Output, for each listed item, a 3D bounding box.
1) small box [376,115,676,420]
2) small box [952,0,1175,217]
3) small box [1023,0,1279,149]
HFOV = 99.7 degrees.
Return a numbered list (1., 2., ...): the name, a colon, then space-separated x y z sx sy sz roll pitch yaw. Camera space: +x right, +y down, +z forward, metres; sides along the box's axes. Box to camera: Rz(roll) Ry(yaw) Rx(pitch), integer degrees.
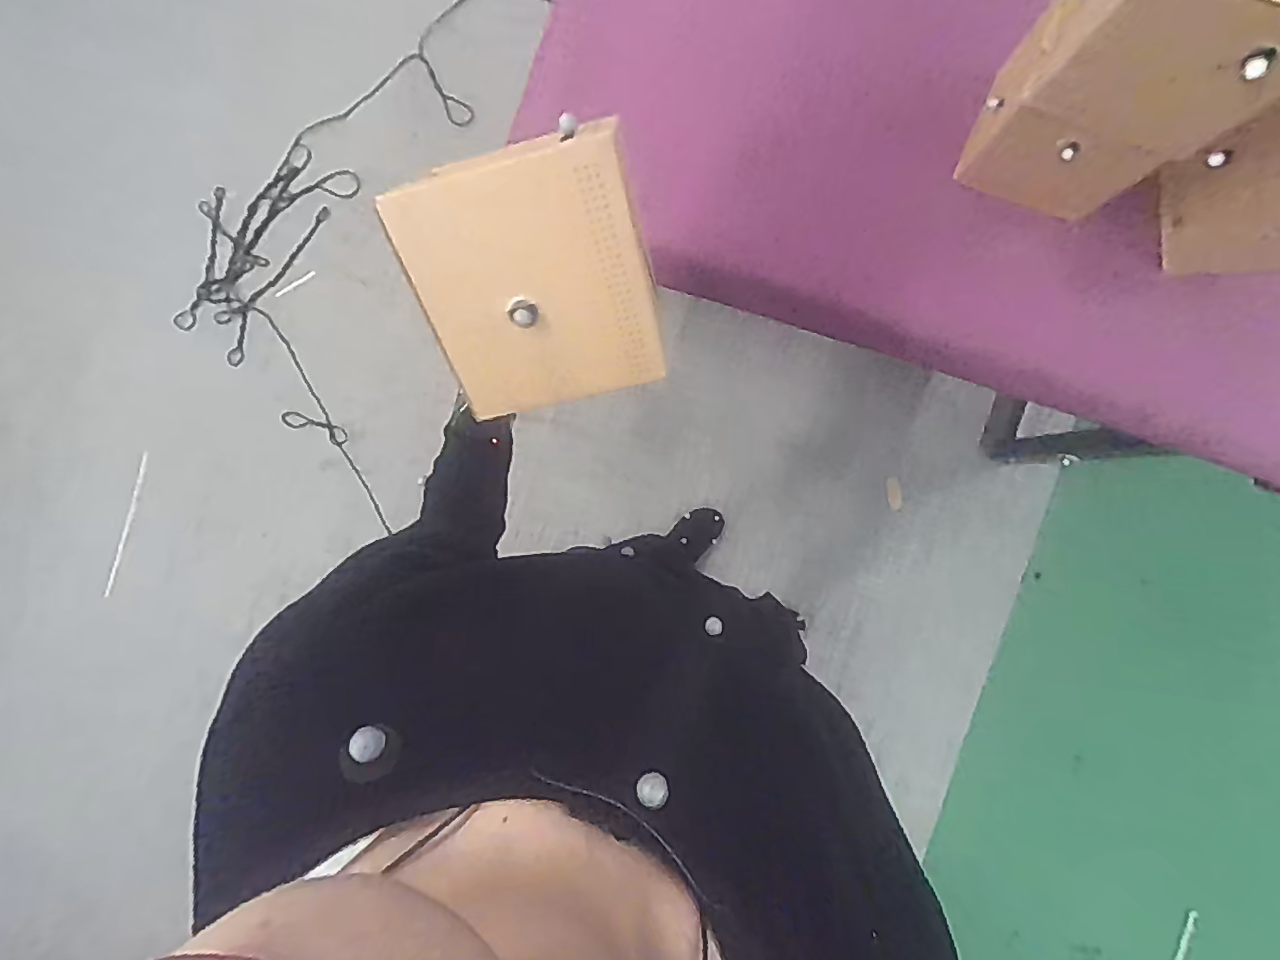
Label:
1. small box: -0.074 -0.180 0.449 0.176 0.168 0.179 -12 127 6
2. small box: 0.527 -0.457 0.662 0.179 0.176 0.168 23 92 4
3. small box: 0.515 -0.448 0.498 0.179 0.176 0.168 24 92 4
